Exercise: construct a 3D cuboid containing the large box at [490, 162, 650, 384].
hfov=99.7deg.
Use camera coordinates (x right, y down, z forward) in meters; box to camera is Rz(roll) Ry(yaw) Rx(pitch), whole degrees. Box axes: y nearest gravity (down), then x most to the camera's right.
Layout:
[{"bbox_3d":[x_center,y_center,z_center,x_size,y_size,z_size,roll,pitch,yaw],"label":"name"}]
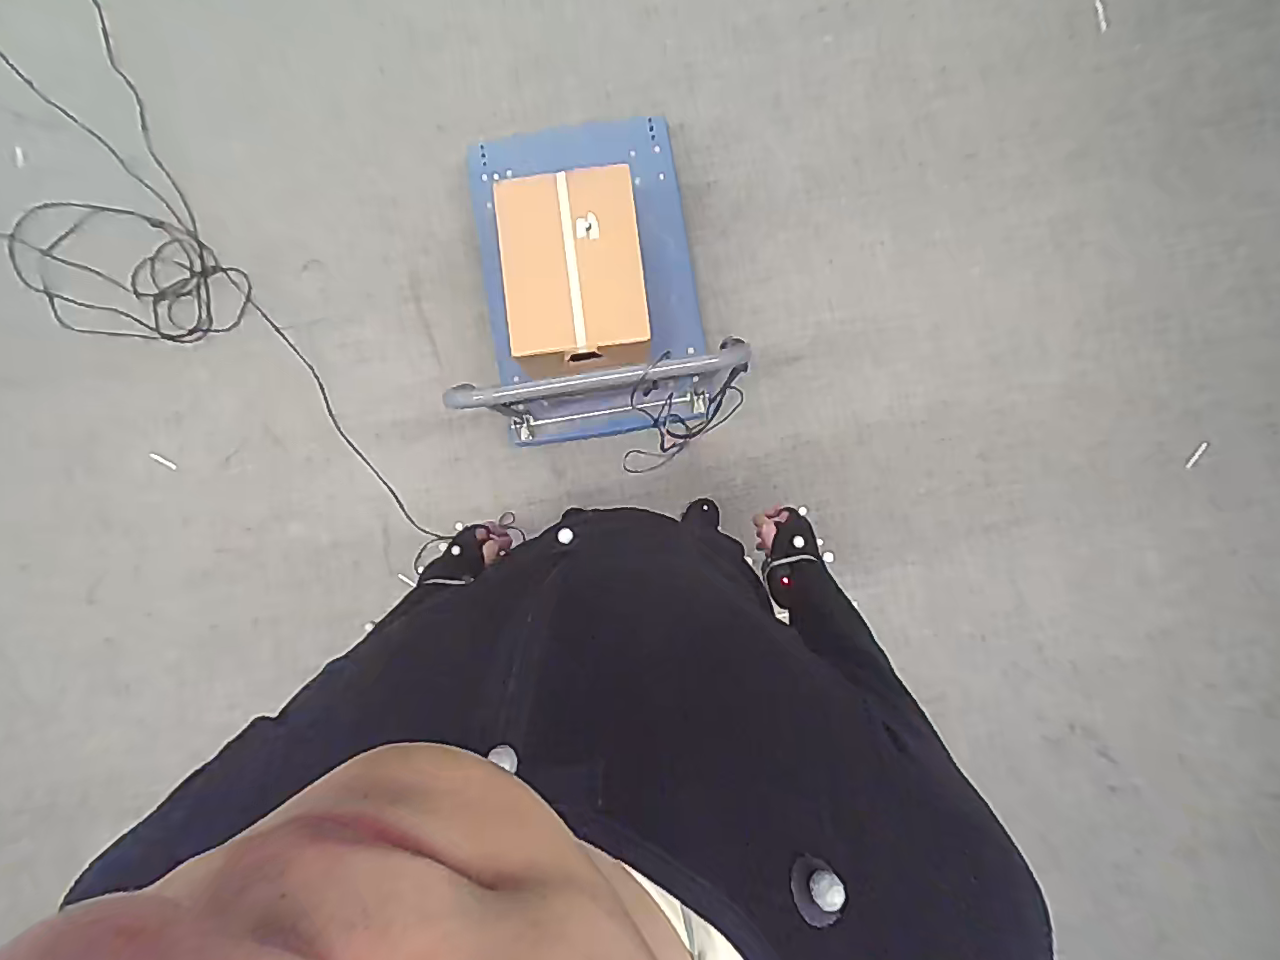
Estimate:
[{"bbox_3d":[-0.154,-0.482,1.336,0.320,0.320,0.408,-7,88,-1],"label":"large box"}]
